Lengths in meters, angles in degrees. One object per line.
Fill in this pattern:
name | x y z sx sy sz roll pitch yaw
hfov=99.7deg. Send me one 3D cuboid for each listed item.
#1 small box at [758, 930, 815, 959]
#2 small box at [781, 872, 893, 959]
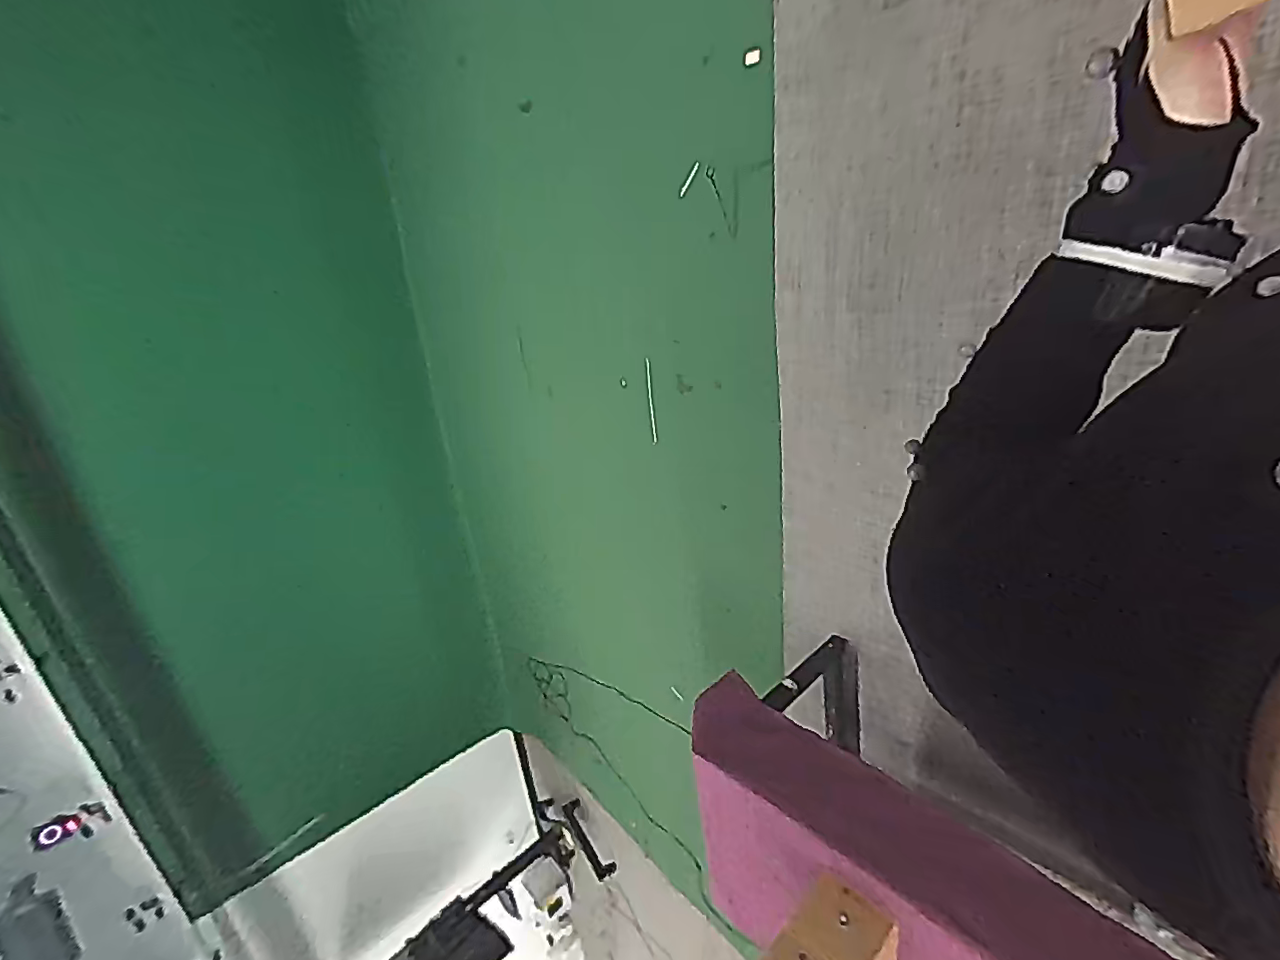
small box | 0.295 1.047 1.051 0.168 0.176 0.179 17 121 47
small box | 0.418 0.996 1.146 0.168 0.176 0.179 15 119 48
